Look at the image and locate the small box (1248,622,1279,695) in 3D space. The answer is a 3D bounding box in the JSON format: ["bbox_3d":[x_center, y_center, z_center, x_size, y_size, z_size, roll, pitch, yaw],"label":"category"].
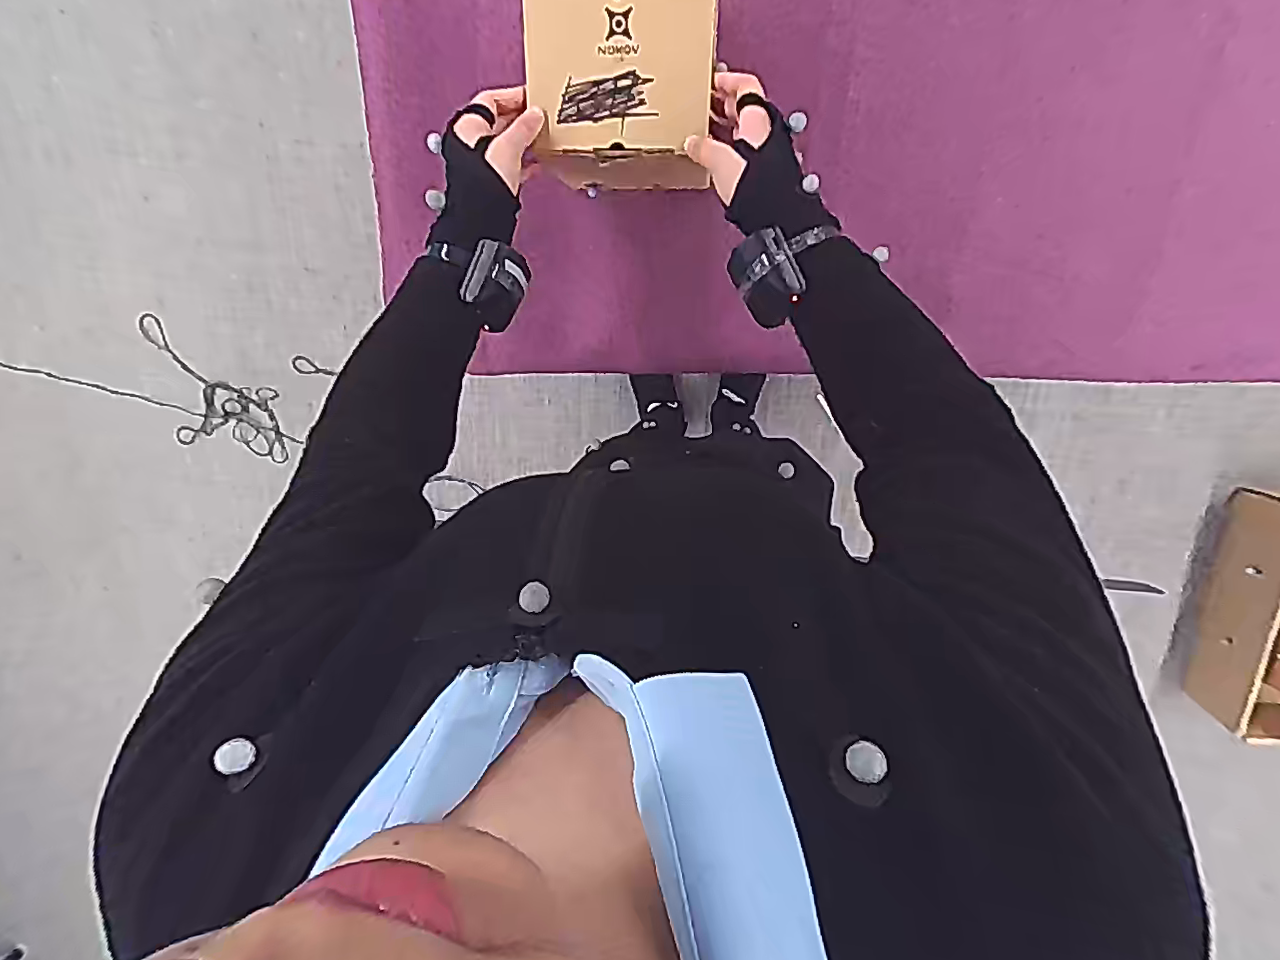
[{"bbox_3d":[1.676,0.459,1.316,0.179,0.176,0.168,-1,106,7],"label":"small box"}]

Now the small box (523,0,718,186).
[{"bbox_3d":[-0.010,-0.402,0.535,0.168,0.176,0.179,3,108,6],"label":"small box"}]
